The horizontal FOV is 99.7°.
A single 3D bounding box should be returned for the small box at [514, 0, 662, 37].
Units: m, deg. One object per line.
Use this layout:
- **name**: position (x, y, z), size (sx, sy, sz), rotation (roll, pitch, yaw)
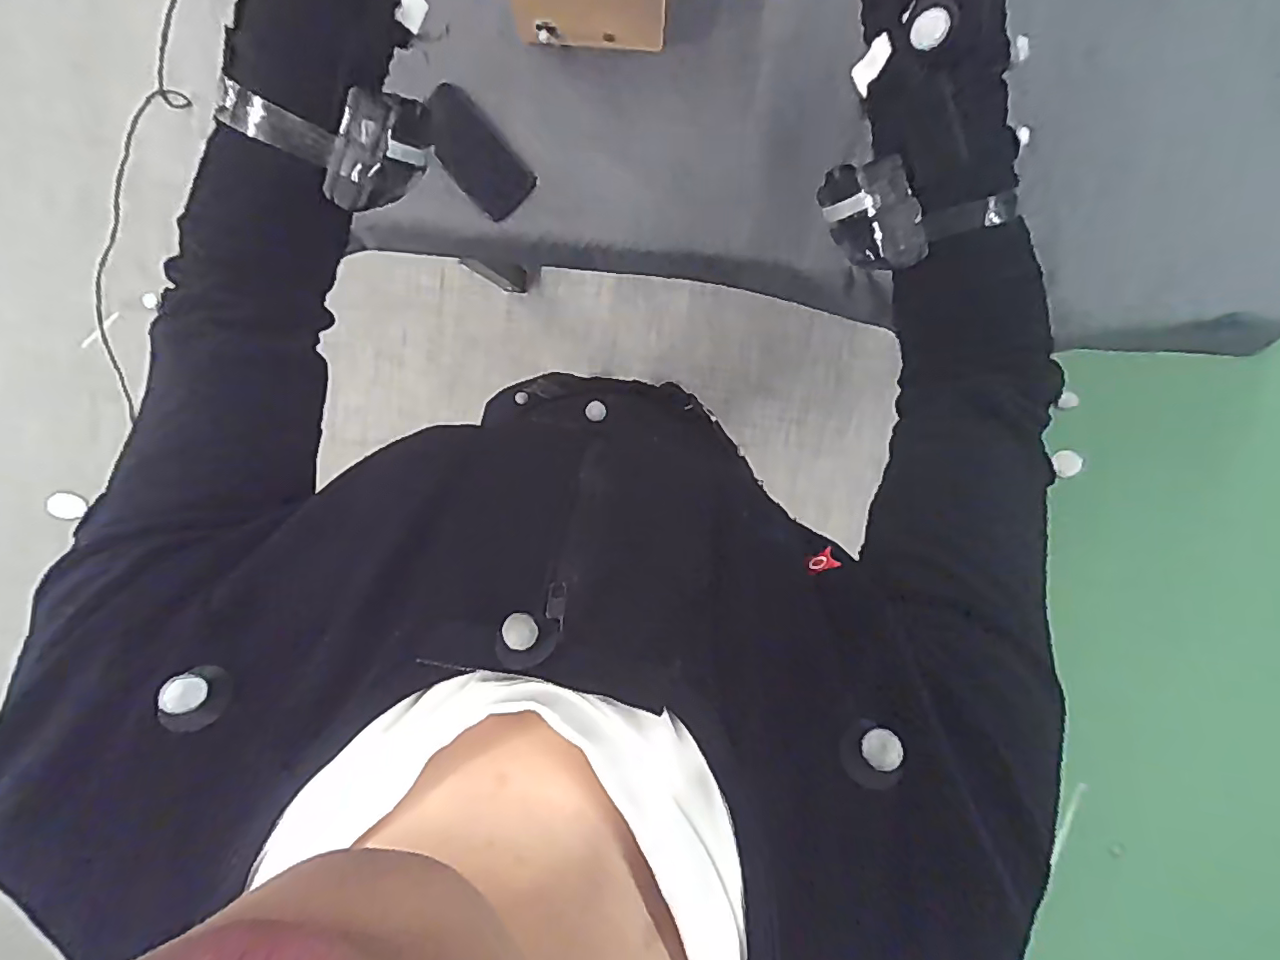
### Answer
- **small box**: position (-0.054, -0.586, 0.535), size (0.168, 0.176, 0.179), rotation (4, 100, -1)
